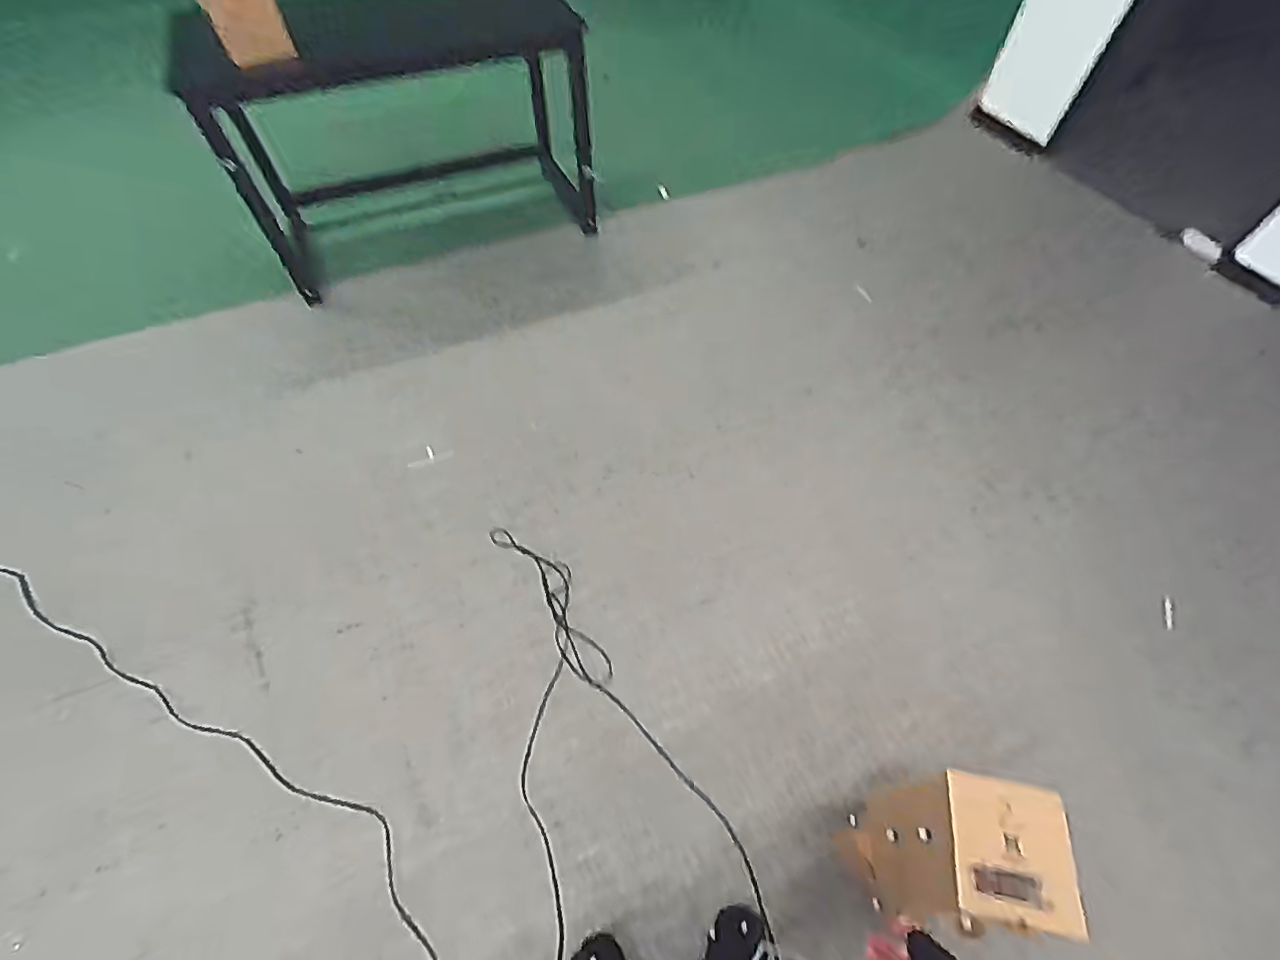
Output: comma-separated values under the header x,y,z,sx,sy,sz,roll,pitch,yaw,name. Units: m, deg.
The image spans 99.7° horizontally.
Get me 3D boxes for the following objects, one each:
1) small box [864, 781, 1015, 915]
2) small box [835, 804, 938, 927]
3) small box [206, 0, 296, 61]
x,y,z,sx,sy,sz,roll,pitch,yaw,name
0.521,0.654,0.973,0.168,0.176,0.179,5,58,2,small box
0.519,0.748,1.089,0.179,0.176,0.168,-25,62,-17,small box
-1.108,-1.315,1.519,0.168,0.176,0.179,-27,63,-18,small box
